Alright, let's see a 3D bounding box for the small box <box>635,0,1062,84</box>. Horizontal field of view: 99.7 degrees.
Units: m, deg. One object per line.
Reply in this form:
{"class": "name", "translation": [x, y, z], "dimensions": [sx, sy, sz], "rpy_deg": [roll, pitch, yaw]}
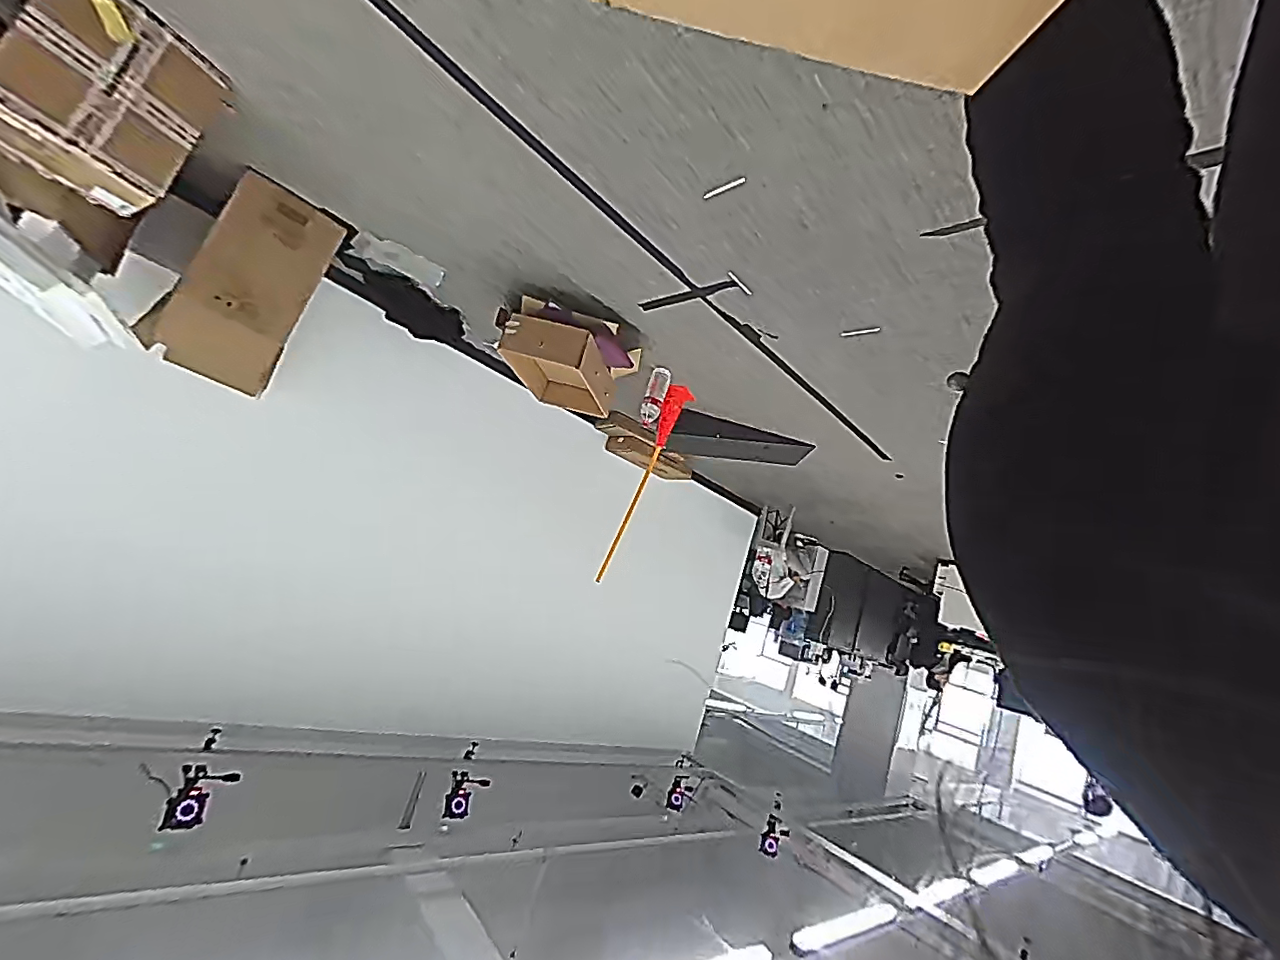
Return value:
{"class": "small box", "translation": [0.088, -0.270, 0.154], "dimensions": [0.179, 0.176, 0.168], "rpy_deg": [10, 178, -5]}
